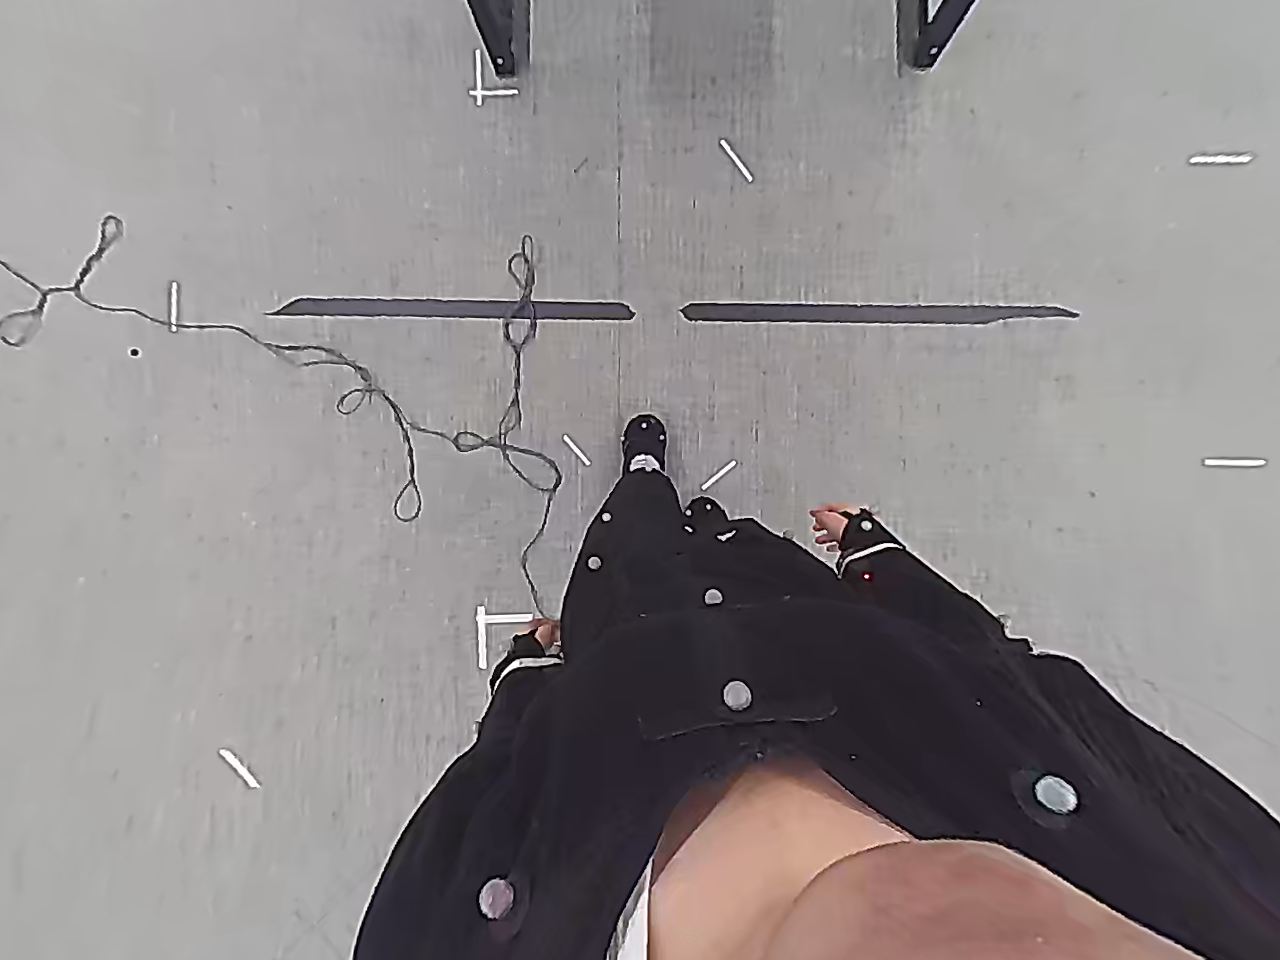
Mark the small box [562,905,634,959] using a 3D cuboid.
[{"bbox_3d":[-0.106,1.264,1.425,0.179,0.176,0.168,0,90,1],"label":"small box"}]
